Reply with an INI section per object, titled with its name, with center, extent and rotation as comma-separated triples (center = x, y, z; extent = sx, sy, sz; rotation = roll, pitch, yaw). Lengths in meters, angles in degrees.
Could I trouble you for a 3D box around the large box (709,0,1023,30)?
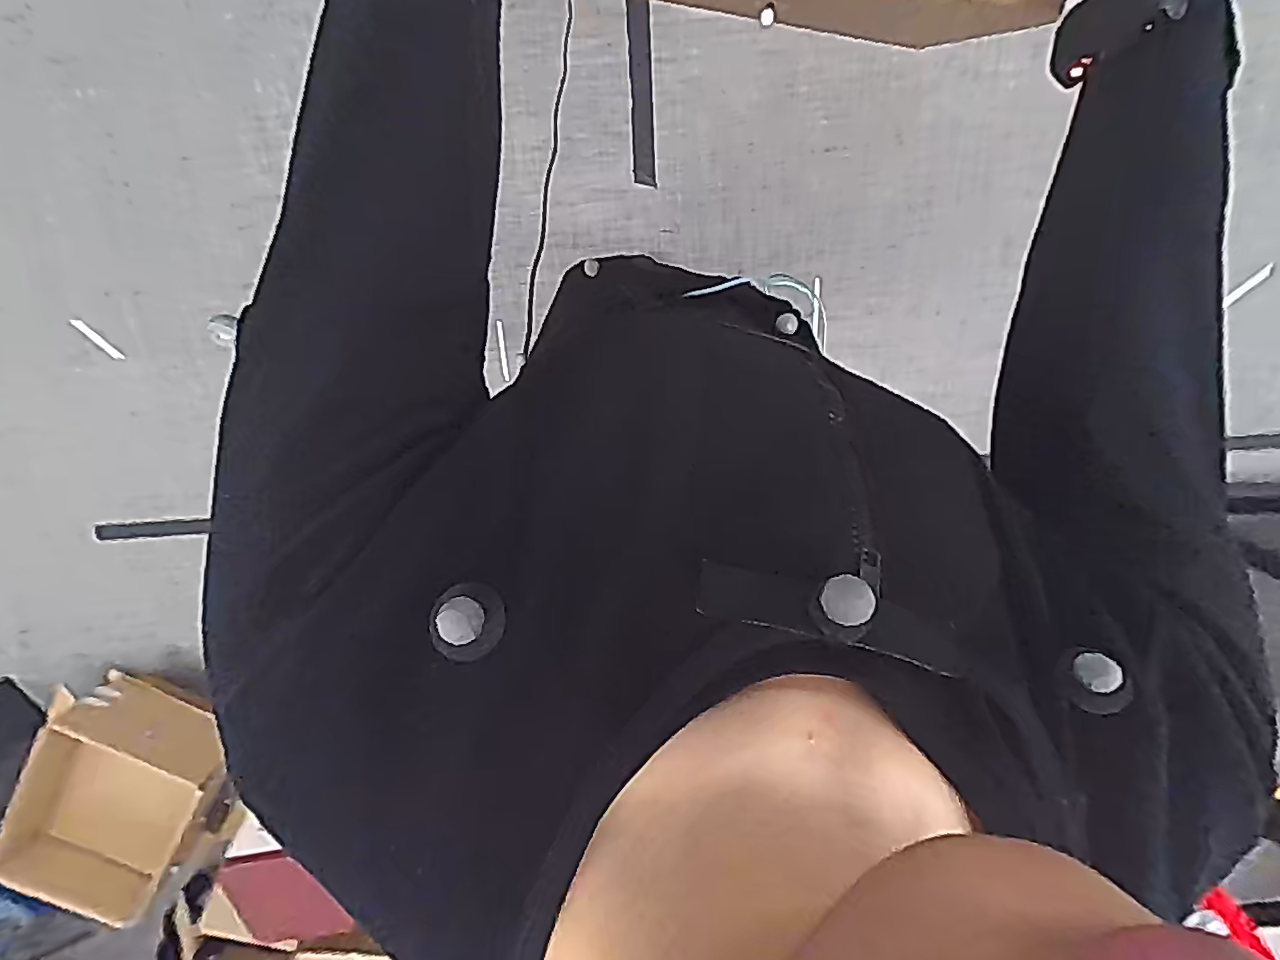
[large box]
center = 0.136, -0.574, 0.408
extent = 0.408, 0.320, 0.320
rotation = 9, 124, -2
